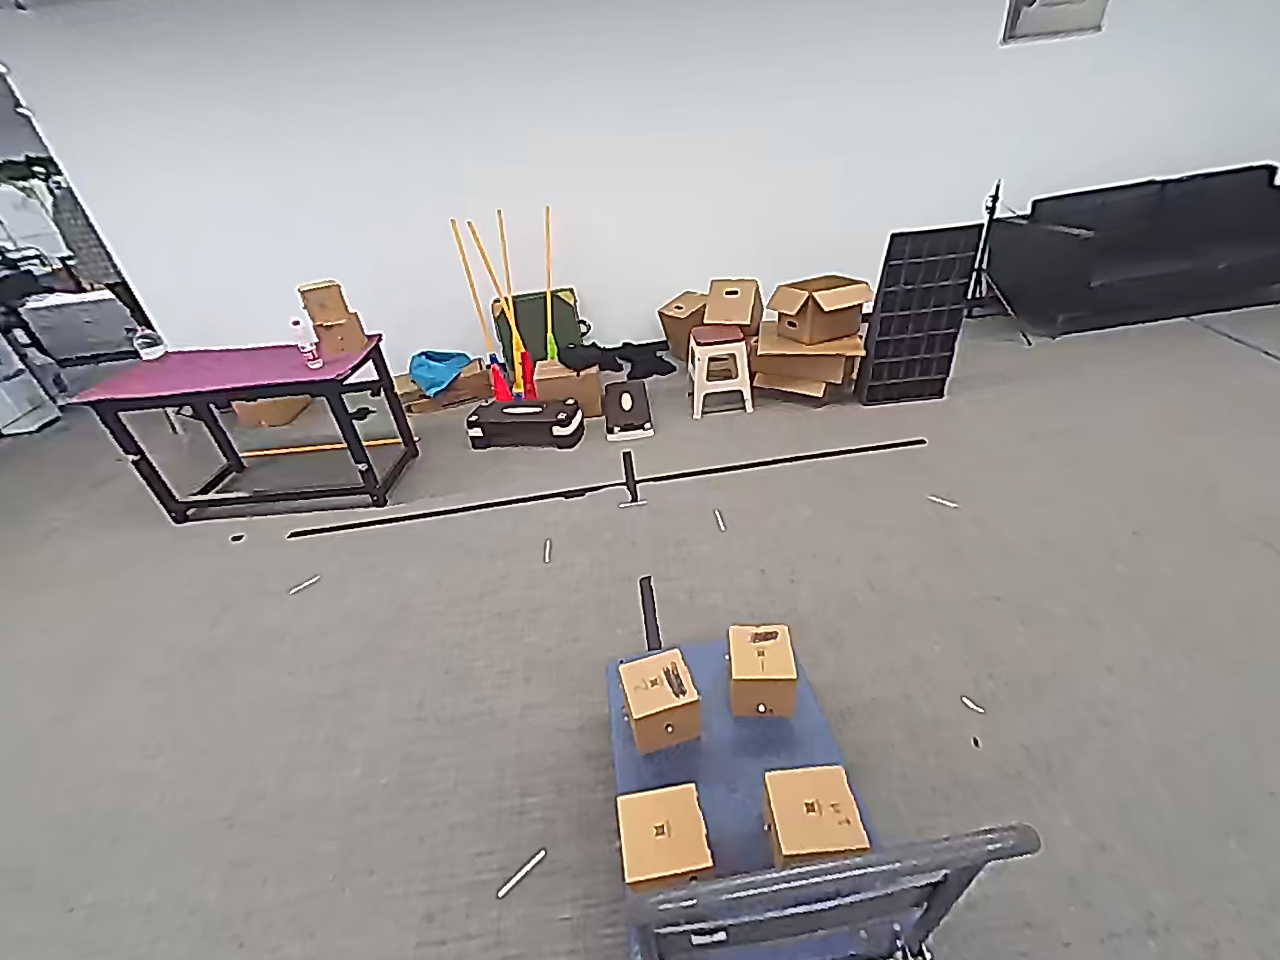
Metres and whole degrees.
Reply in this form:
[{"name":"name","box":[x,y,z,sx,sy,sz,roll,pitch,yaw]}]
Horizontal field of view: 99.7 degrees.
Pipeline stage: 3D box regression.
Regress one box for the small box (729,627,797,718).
[{"name":"small box","box":[0.333,0.529,1.495,0.168,0.176,0.179,-3,35,6]}]

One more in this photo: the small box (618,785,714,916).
[{"name":"small box","box":[0.055,0.791,1.153,0.179,0.176,0.168,-8,33,-5]}]

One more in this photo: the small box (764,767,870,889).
[{"name":"small box","box":[0.370,0.748,1.160,0.179,0.176,0.168,-6,34,2]}]
